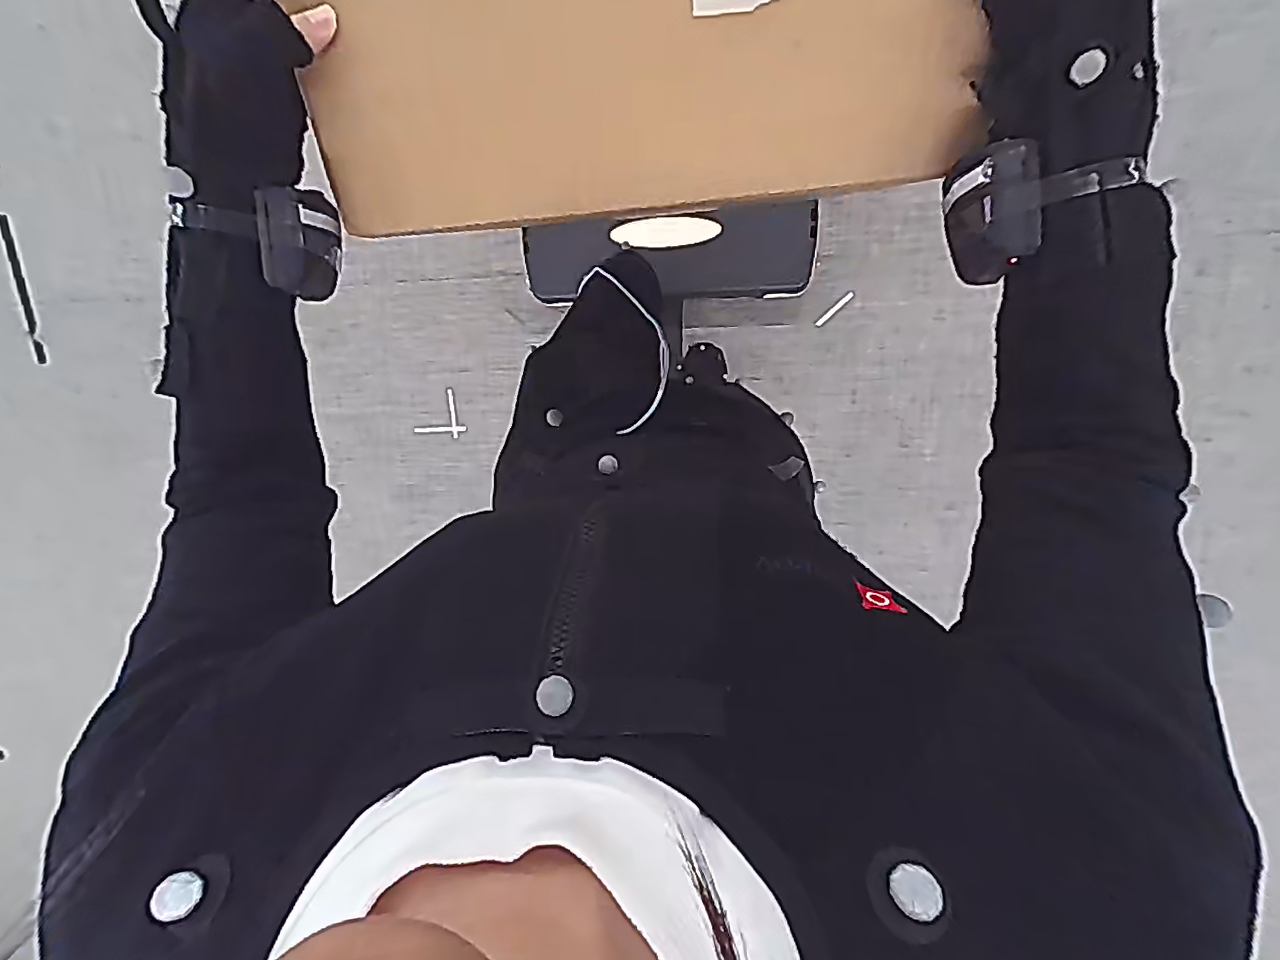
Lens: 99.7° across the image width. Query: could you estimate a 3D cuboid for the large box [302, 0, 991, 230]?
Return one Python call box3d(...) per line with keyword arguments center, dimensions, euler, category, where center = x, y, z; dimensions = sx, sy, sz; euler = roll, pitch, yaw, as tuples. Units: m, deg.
box3d(center=(0.003, -0.390, 0.423), dimensions=(0.408, 0.320, 0.320), euler=(-3, 116, 8), category="large box")
